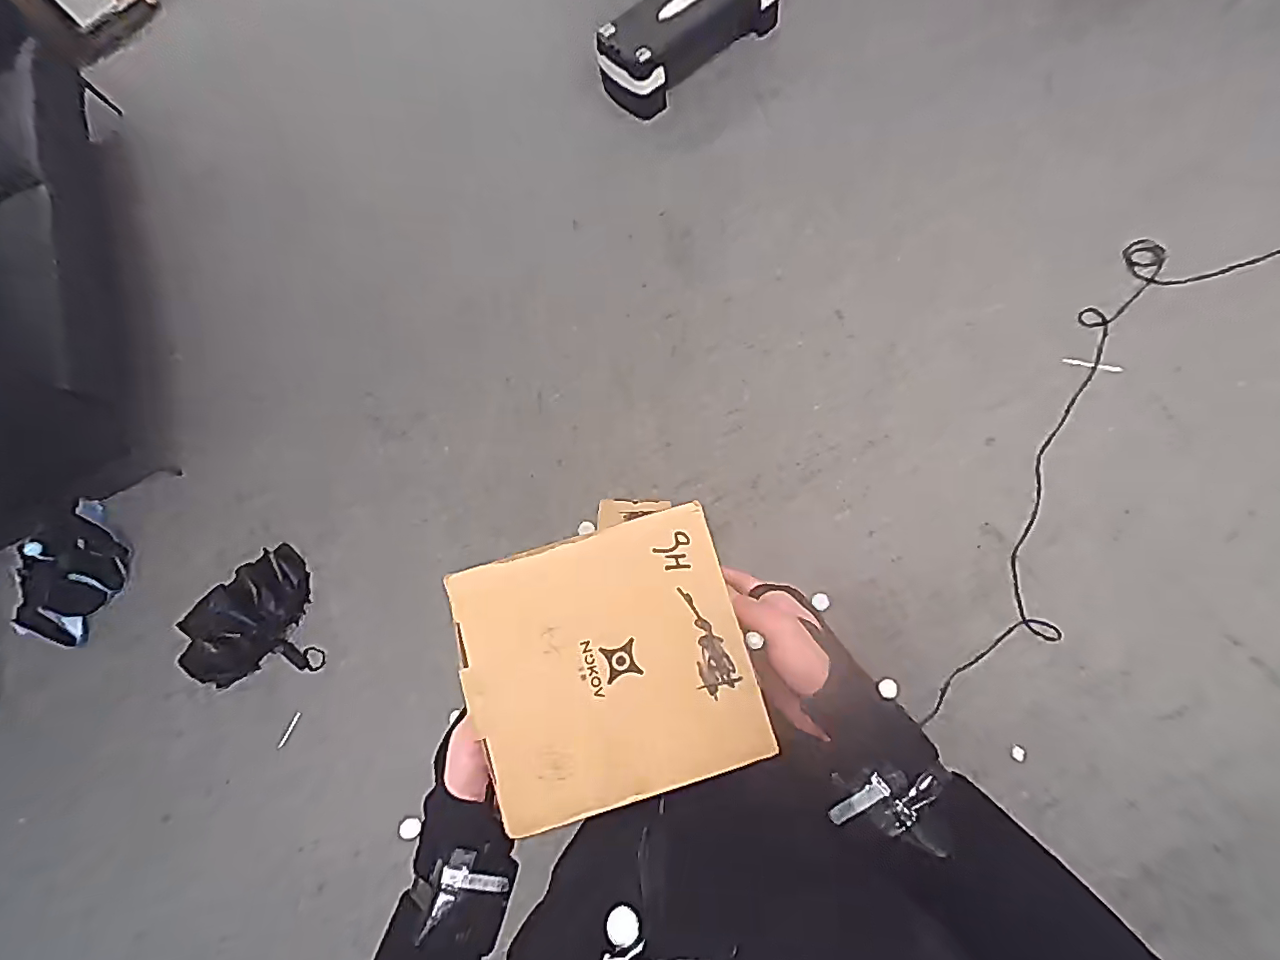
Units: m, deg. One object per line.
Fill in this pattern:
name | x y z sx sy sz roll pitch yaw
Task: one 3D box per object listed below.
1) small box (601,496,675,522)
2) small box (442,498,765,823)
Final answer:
small box | 0.003 0.144 1.260 0.168 0.176 0.179 1 74 12
small box | -0.023 0.122 0.421 0.179 0.176 0.168 -16 83 -1
